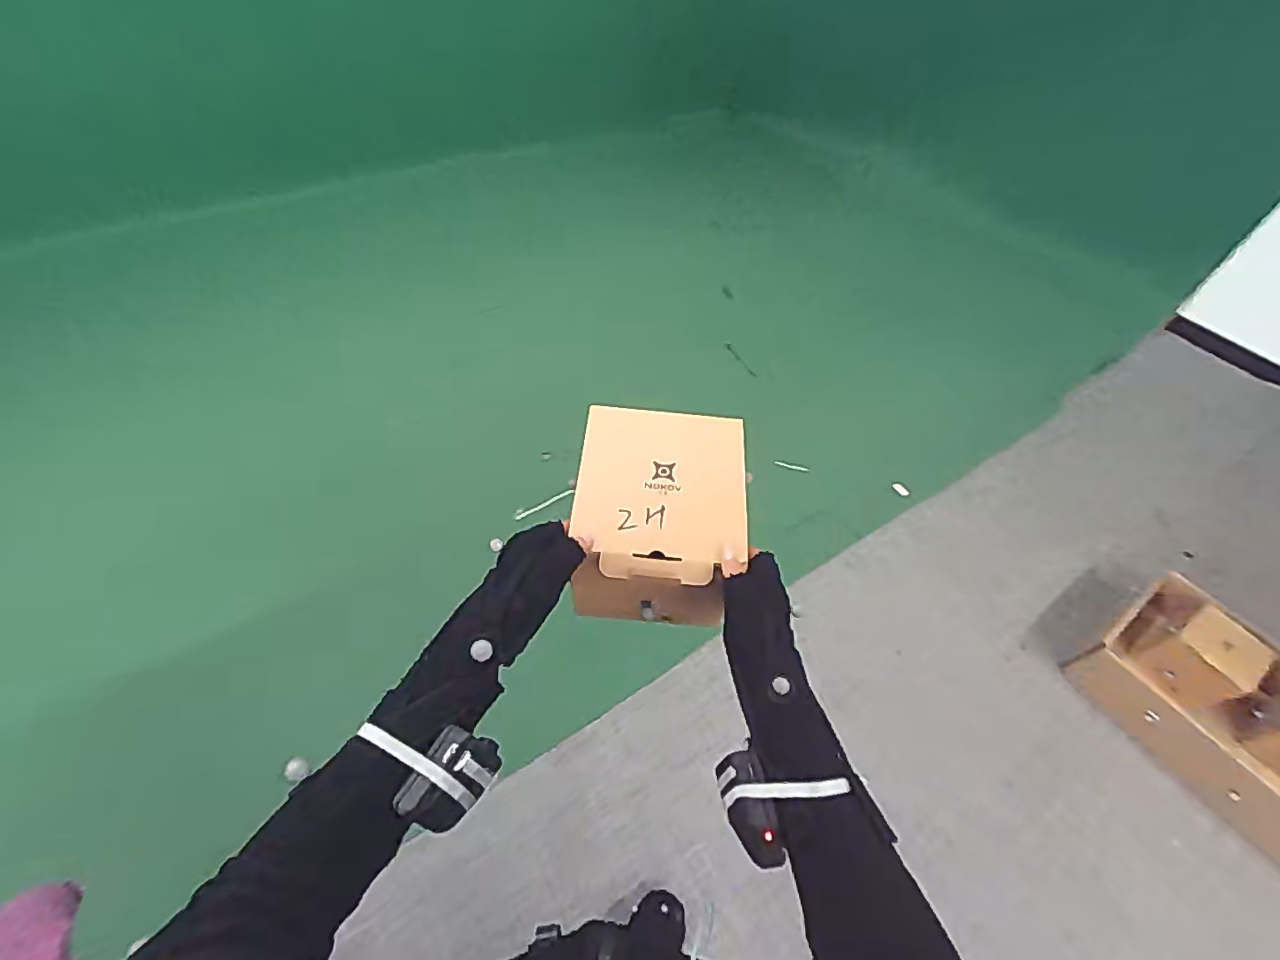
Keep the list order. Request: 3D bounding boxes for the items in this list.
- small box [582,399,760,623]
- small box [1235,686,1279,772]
[{"bbox_3d":[0.030,0.039,0.596,0.168,0.176,0.179,6,57,0],"label":"small box"},{"bbox_3d":[1.619,0.614,1.306,0.179,0.176,0.168,-32,59,-24],"label":"small box"}]
